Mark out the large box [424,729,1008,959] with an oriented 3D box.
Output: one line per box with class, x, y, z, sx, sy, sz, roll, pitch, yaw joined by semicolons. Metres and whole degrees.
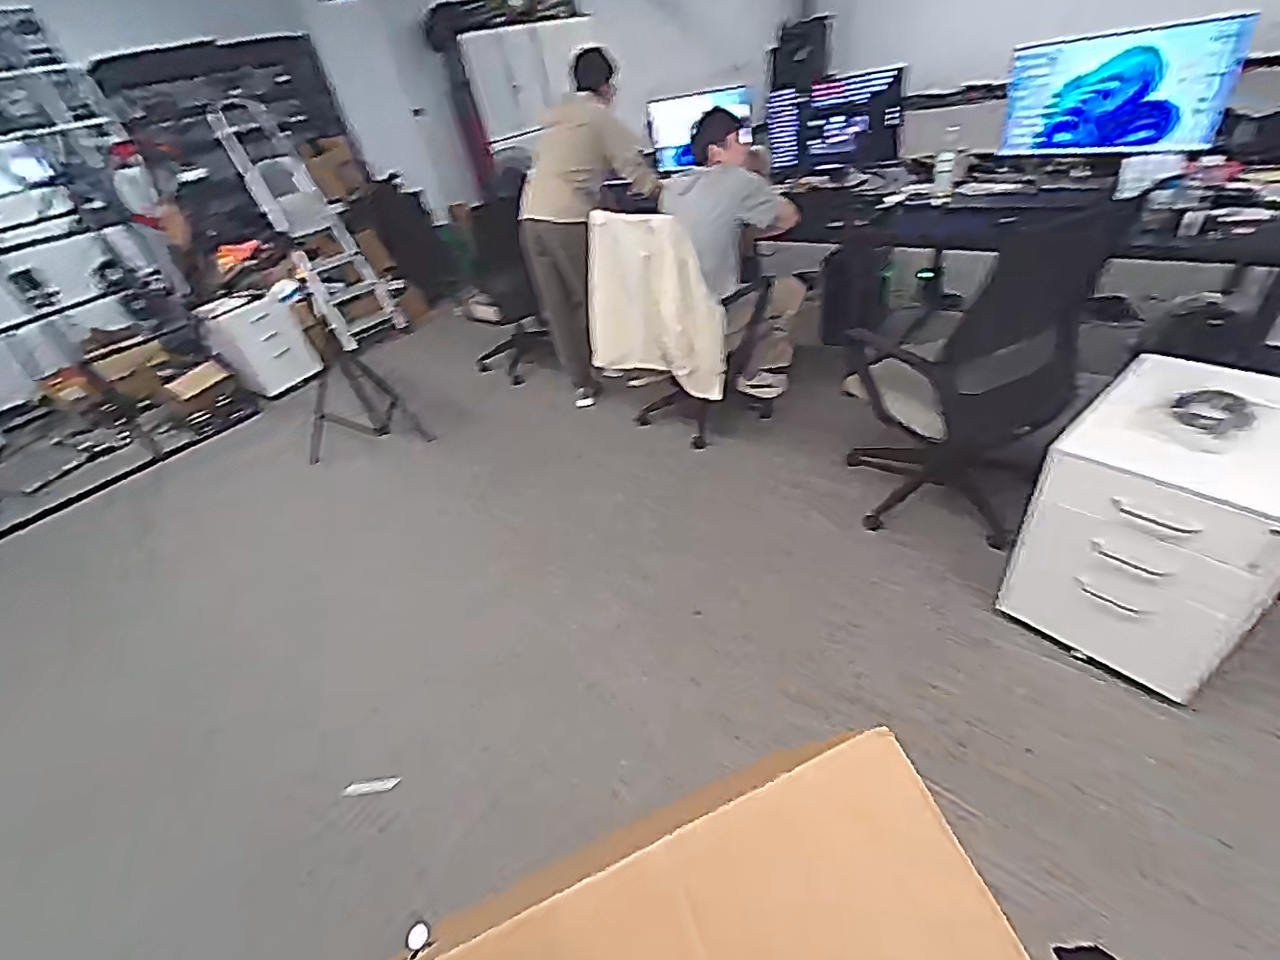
large box;0.041;0.439;0.396;0.408;0.320;0.320;-22;64;-12
